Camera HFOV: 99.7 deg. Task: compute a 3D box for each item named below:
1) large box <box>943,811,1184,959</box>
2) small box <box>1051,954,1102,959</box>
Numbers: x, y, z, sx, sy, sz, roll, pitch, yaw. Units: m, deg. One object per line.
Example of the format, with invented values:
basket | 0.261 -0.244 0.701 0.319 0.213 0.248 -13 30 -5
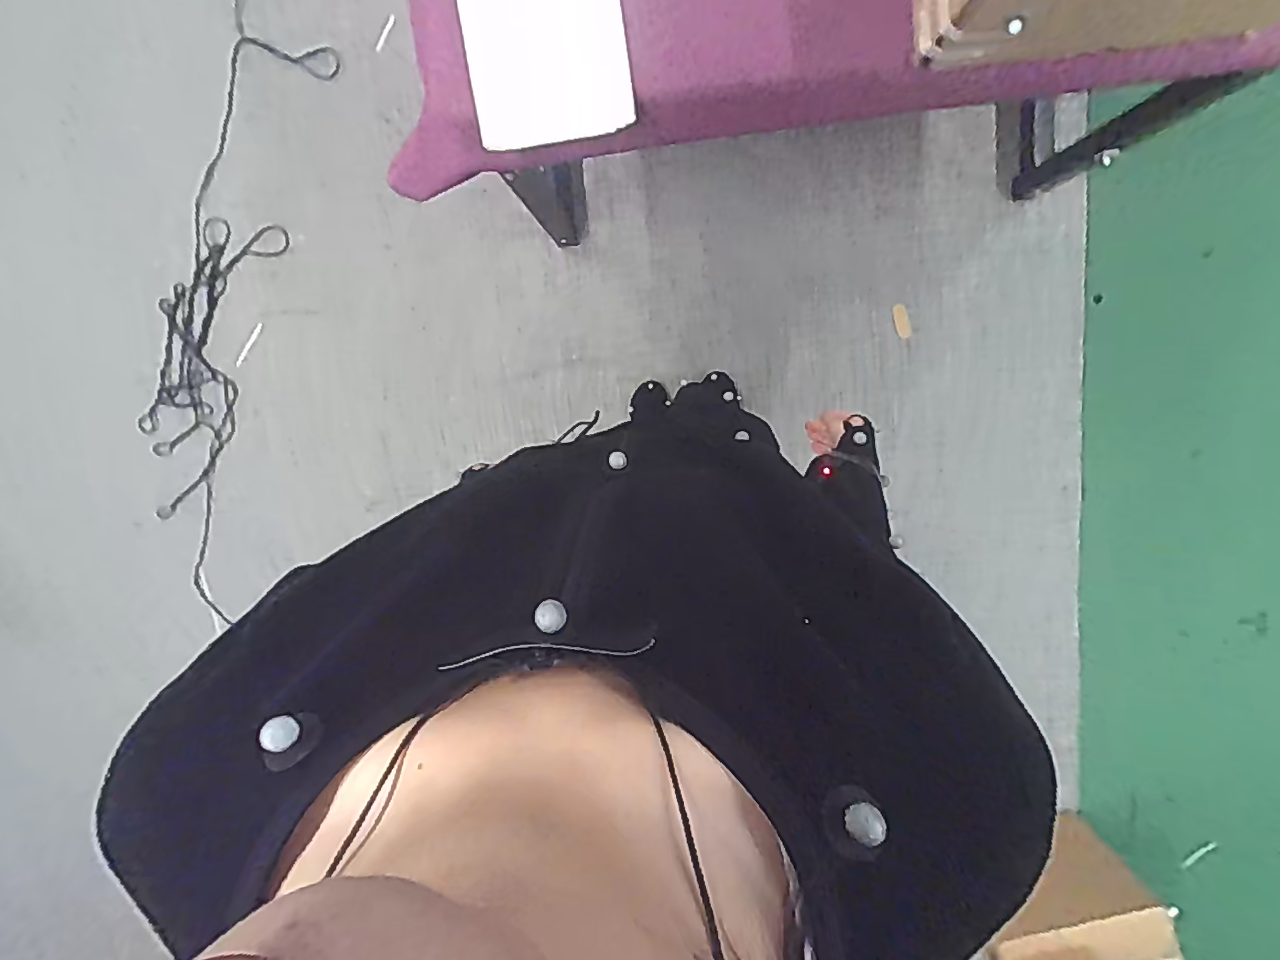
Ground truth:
large box | 1.131 1.191 1.469 0.408 0.320 0.320 -20 98 6
small box | 1.029 1.241 1.236 0.179 0.176 0.168 -15 98 6
